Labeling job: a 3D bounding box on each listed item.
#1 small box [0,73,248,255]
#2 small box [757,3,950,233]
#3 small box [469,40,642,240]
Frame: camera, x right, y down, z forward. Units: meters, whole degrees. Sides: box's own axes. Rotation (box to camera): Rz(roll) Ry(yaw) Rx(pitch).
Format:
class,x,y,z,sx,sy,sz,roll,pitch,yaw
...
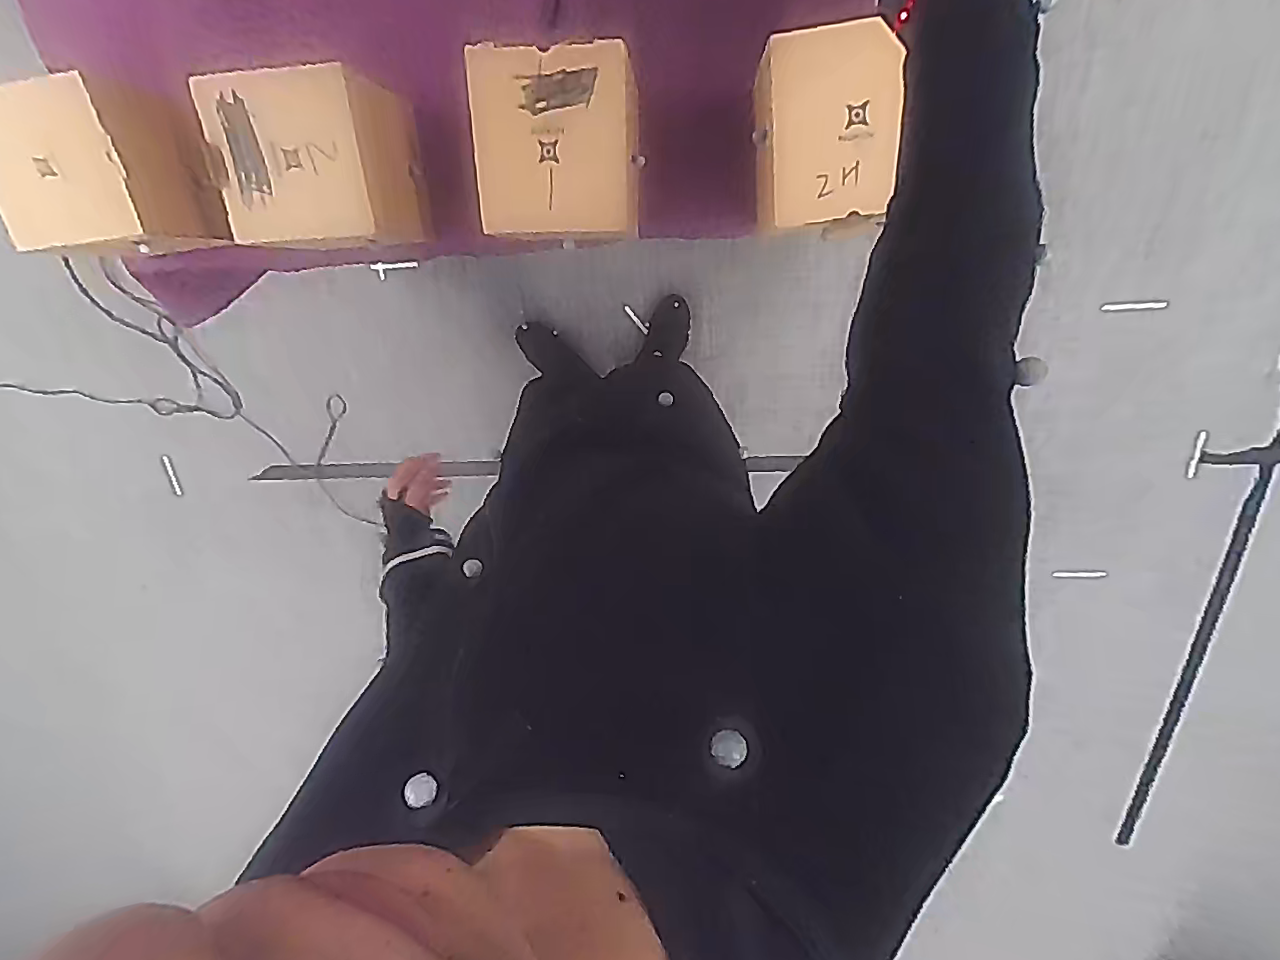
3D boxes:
class,x,y,z,sx,sy,sz,roll,pitch,yaw
small box,-0.665,-0.387,0.695,0.179,0.176,0.168,-5,111,6
small box,0.225,-0.389,0.617,0.168,0.176,0.179,-3,112,8
small box,-0.087,-0.387,0.646,0.168,0.176,0.179,1,112,5
